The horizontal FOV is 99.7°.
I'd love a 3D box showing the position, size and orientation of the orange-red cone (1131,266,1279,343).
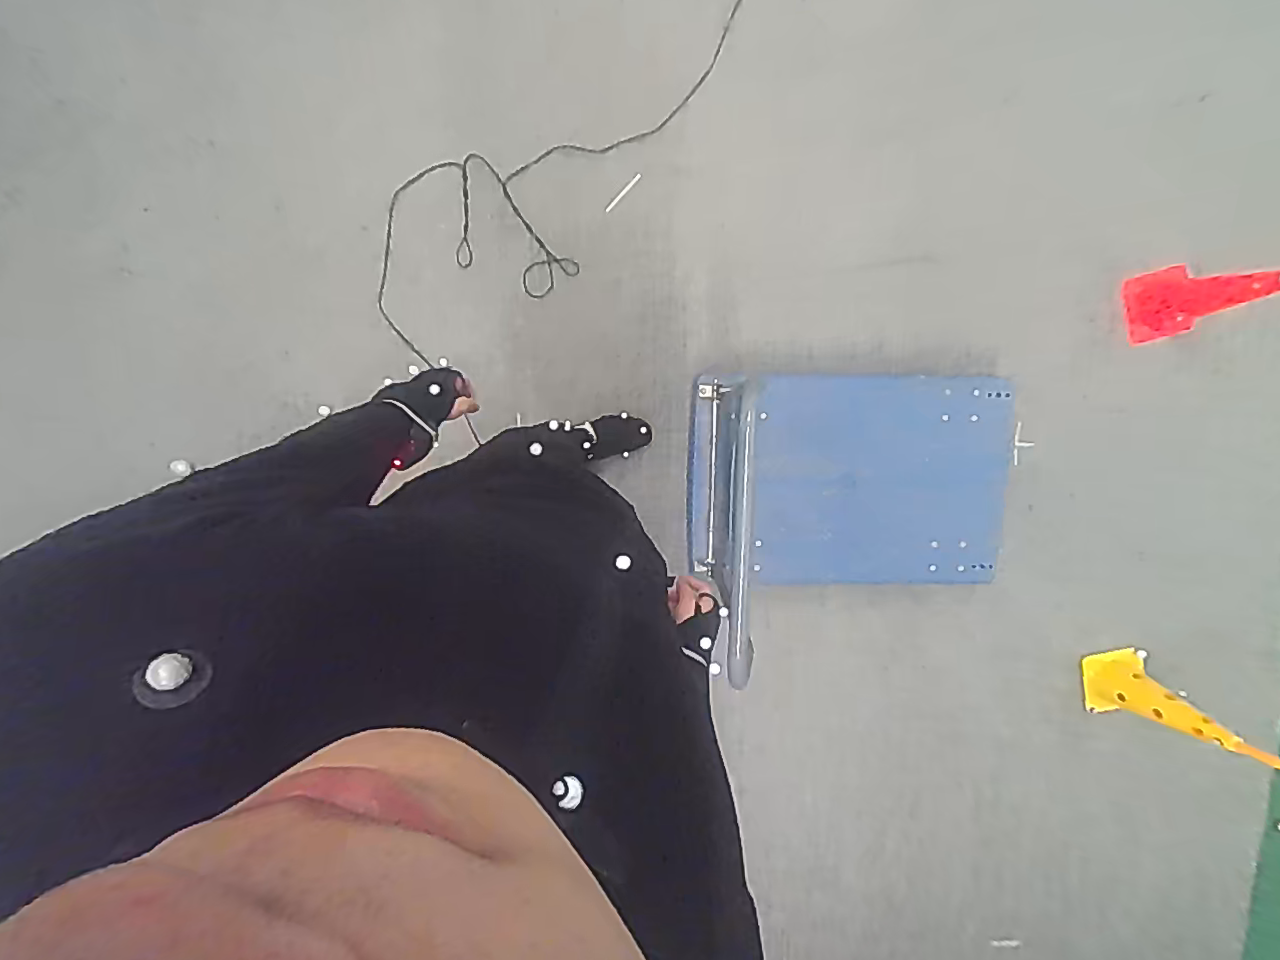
[{"bbox_3d":[1.562,-0.499,1.429,0.198,0.360,0.199,-14,96,0],"label":"orange-red cone"}]
